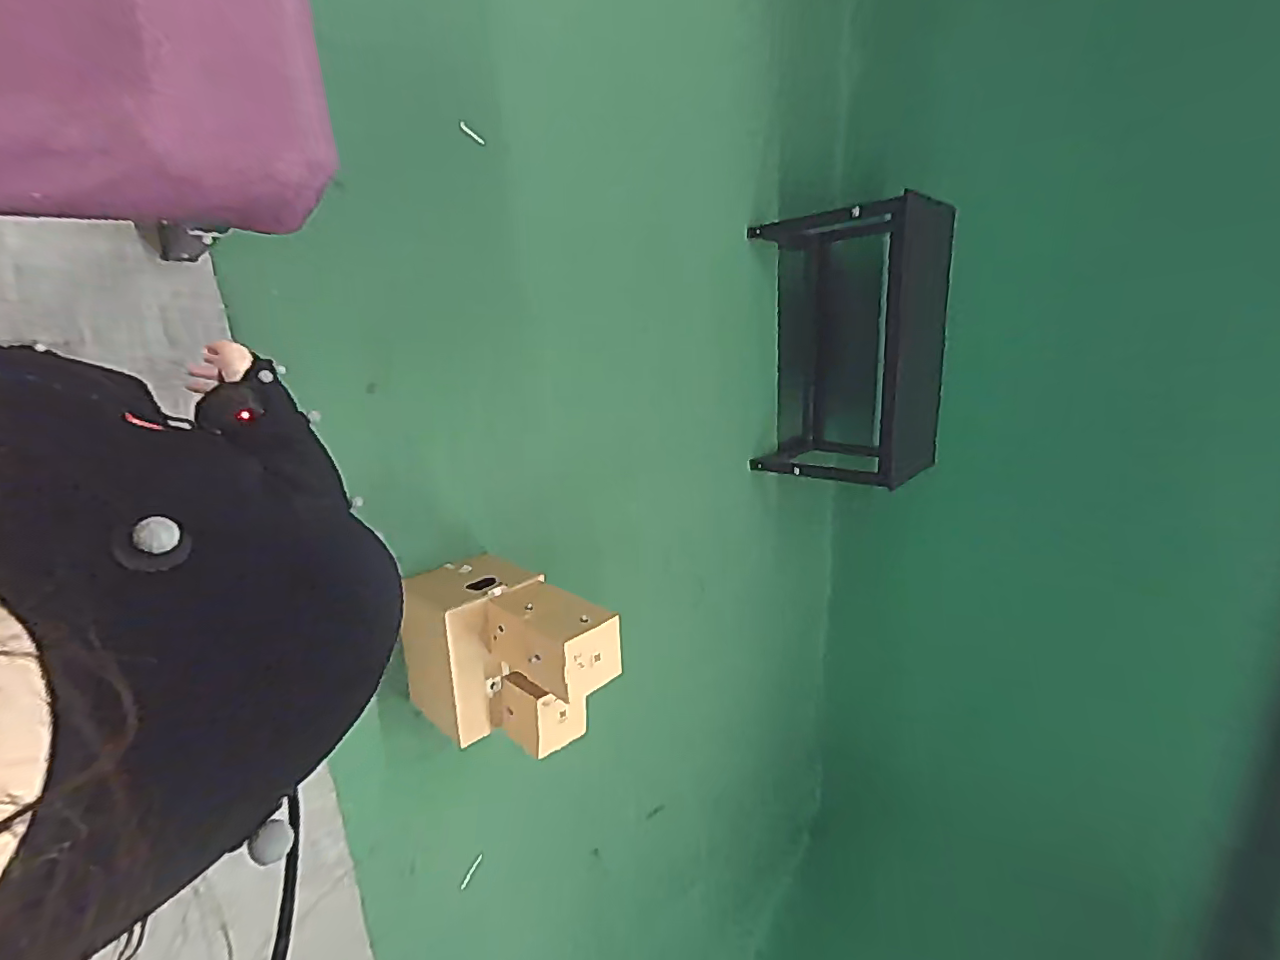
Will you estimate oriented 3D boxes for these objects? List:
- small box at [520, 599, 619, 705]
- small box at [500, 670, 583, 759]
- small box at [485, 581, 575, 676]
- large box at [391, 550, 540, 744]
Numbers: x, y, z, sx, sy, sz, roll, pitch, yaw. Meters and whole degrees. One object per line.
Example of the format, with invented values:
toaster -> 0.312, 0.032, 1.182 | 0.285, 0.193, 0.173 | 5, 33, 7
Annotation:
small box -> -0.174, 0.414, 1.340 | 0.179, 0.176, 0.168 | -16, 110, -44
small box -> -0.278, 0.630, 1.511 | 0.168, 0.176, 0.179 | -8, 103, -47
small box -> -0.292, 0.388, 1.452 | 0.179, 0.176, 0.168 | -15, 109, -45
large box -> -0.499, 0.468, 1.604 | 0.320, 0.320, 0.408 | -15, 109, -44
